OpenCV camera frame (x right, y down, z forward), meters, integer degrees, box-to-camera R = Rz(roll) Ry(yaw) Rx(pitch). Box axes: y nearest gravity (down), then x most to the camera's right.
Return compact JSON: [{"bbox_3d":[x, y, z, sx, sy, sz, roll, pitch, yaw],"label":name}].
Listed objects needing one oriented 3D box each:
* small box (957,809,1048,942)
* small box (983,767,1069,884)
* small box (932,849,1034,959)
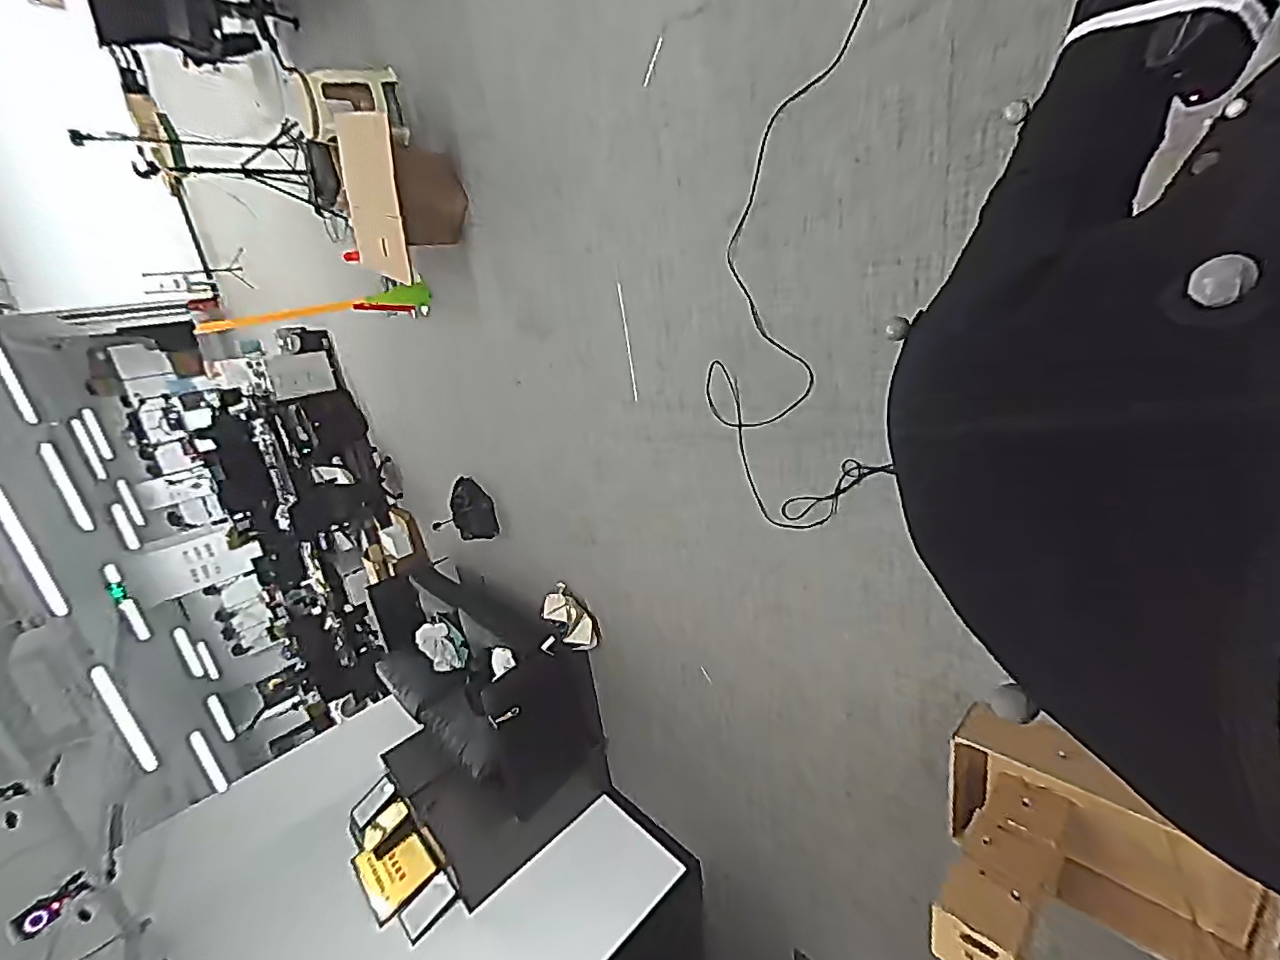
[{"bbox_3d":[0.920,0.995,1.379,0.168,0.176,0.179,10,117,45],"label":"small box"},{"bbox_3d":[1.058,0.935,1.482,0.168,0.176,0.179,4,113,46],"label":"small box"},{"bbox_3d":[0.816,1.037,1.284,0.168,0.176,0.179,12,118,46],"label":"small box"}]
